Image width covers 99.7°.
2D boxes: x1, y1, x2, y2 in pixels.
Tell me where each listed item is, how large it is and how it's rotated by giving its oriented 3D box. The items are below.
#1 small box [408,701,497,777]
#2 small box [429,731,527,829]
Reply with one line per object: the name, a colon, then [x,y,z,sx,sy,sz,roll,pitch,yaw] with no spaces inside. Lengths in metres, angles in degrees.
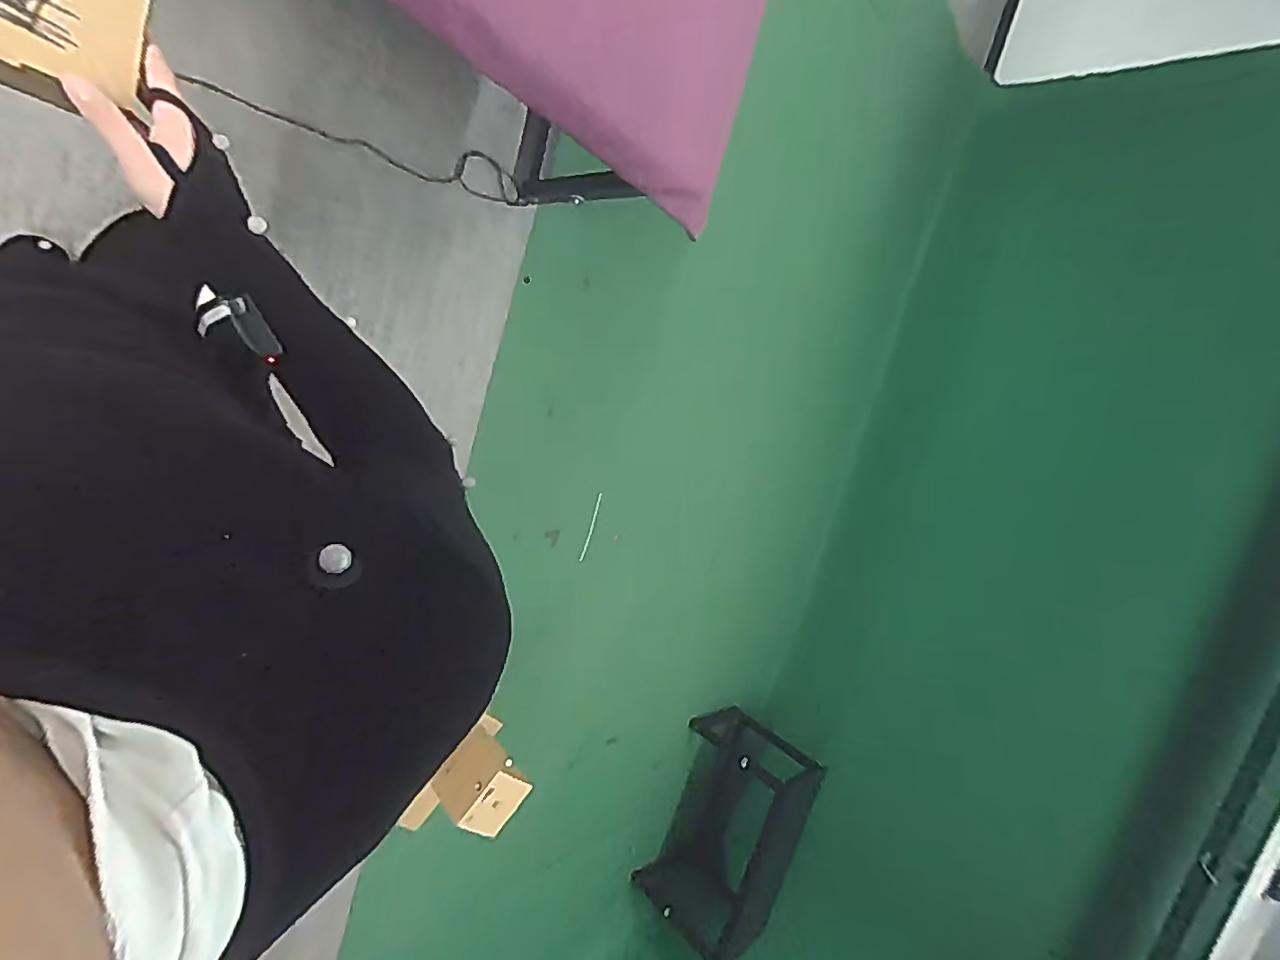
small box: [-0.579,0.821,1.679,0.168,0.176,0.179,-50,136,-19]
small box: [-0.469,0.863,1.565,0.168,0.176,0.179,-50,137,-19]
